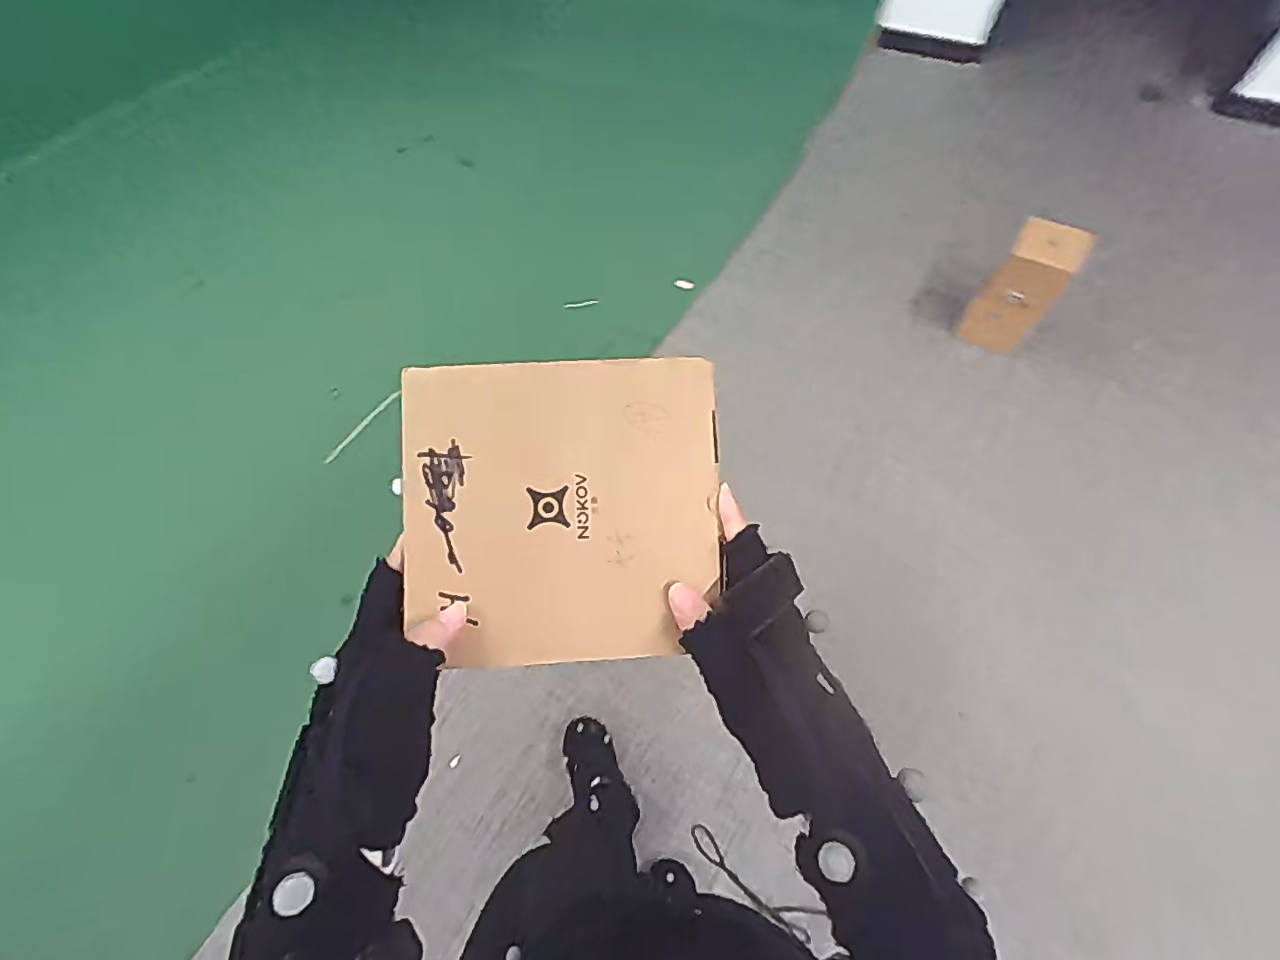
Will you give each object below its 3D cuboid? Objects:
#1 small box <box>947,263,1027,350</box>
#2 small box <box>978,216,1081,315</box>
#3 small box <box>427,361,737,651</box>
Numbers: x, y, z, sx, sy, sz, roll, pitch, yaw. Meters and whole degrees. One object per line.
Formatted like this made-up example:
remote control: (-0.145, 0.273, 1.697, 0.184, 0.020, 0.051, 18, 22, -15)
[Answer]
small box: (1.104, -0.537, 1.692, 0.179, 0.176, 0.168, 30, 68, 17)
small box: (1.107, -0.611, 1.548, 0.168, 0.176, 0.179, 27, 68, 19)
small box: (-0.037, 0.018, 0.388, 0.179, 0.176, 0.168, -1, 85, -3)
